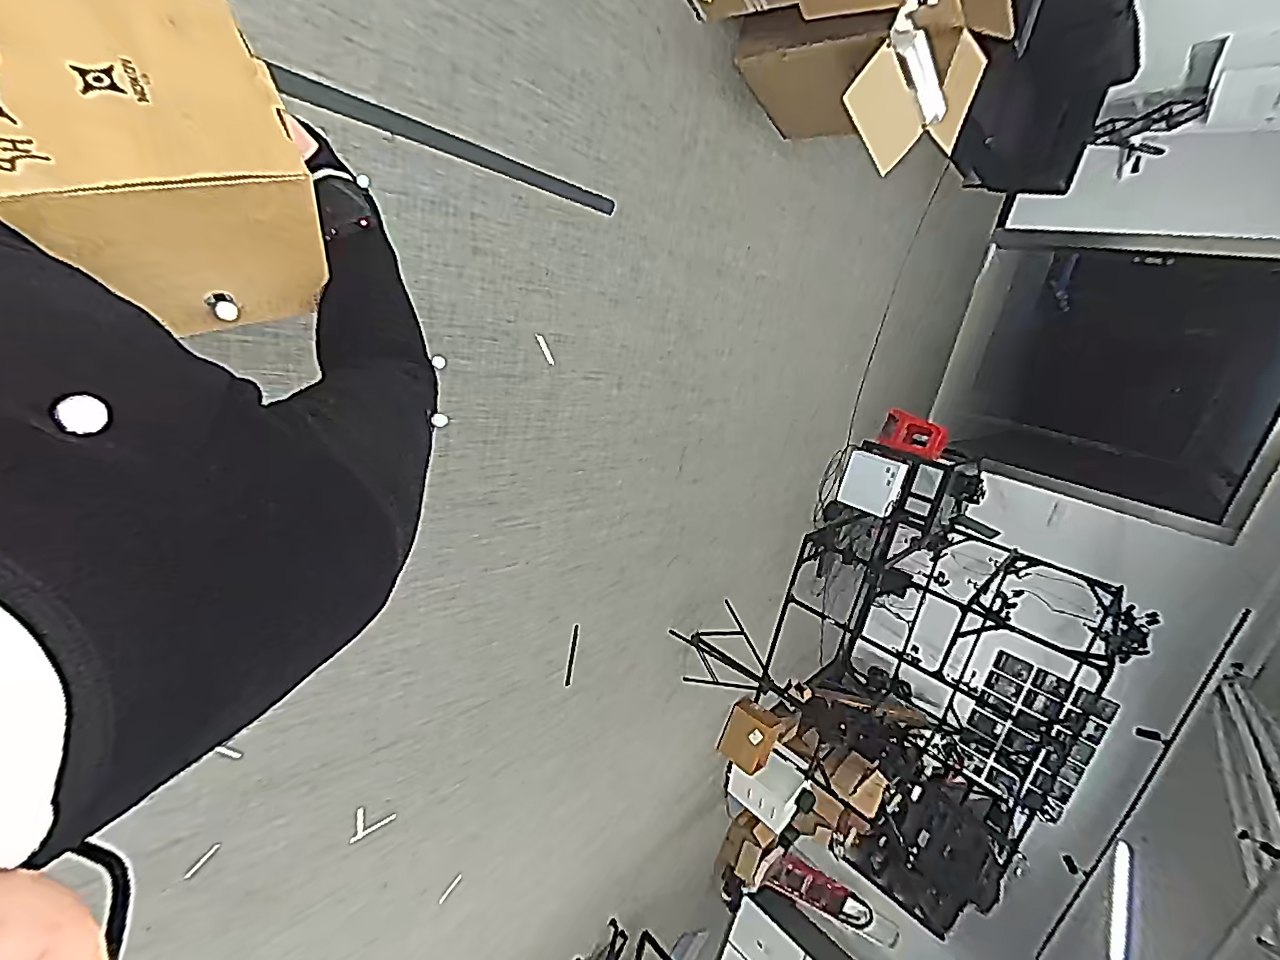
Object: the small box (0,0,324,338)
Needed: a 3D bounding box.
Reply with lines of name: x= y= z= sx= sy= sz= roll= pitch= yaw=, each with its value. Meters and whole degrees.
small box: x=-0.380 y=-0.242 z=0.441 sx=0.179 sy=0.168 sz=0.176 roll=-24 pitch=172 yaw=-29
